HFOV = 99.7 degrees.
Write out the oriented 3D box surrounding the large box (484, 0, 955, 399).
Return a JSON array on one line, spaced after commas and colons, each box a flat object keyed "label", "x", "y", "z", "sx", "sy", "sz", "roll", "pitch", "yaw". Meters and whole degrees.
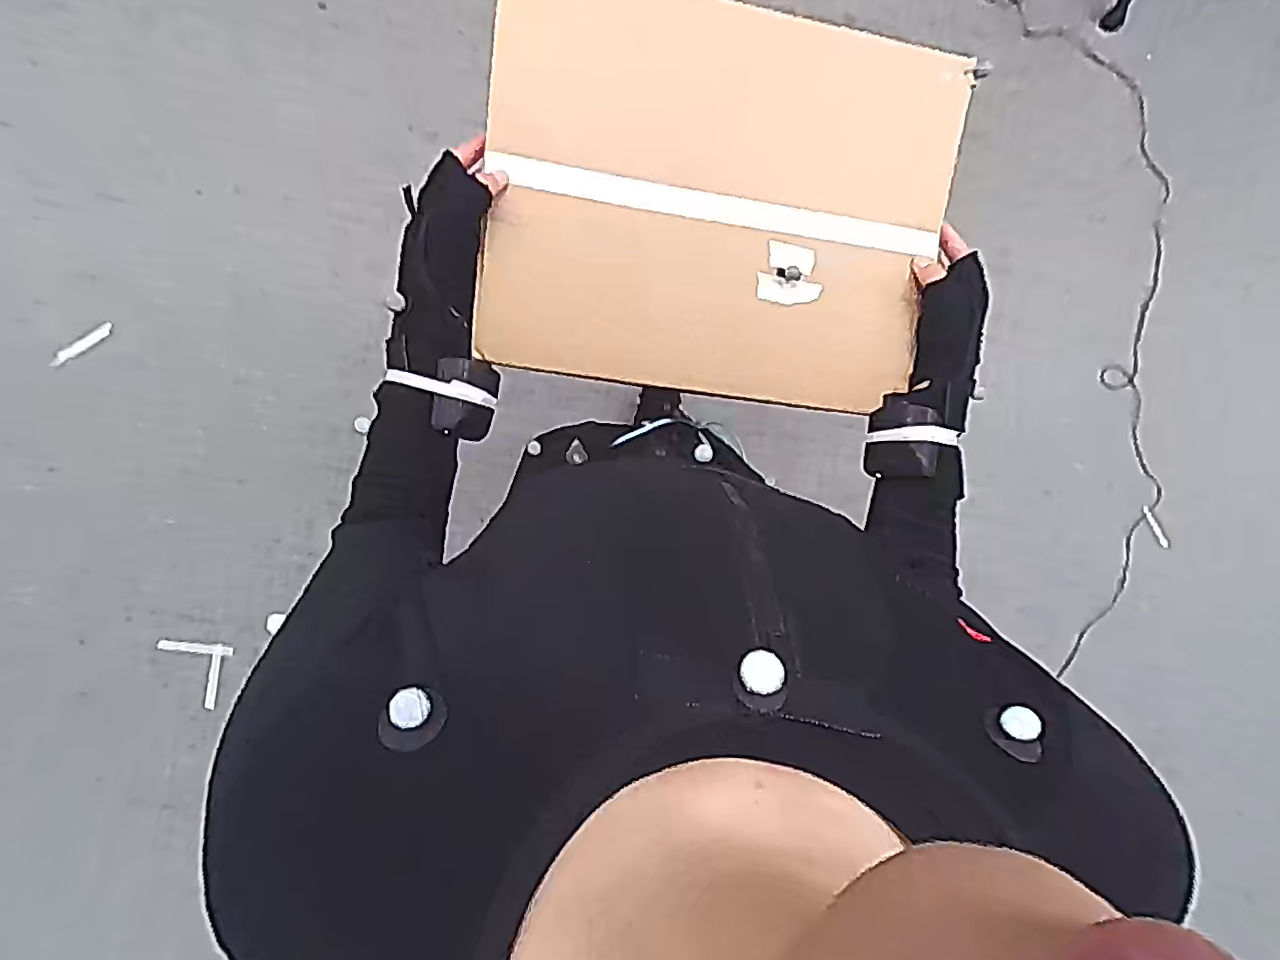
[{"label": "large box", "x": 0.051, "y": -0.273, "z": 0.624, "sx": 0.408, "sy": 0.320, "sz": 0.320, "roll": 6, "pitch": 101, "yaw": -9}]
